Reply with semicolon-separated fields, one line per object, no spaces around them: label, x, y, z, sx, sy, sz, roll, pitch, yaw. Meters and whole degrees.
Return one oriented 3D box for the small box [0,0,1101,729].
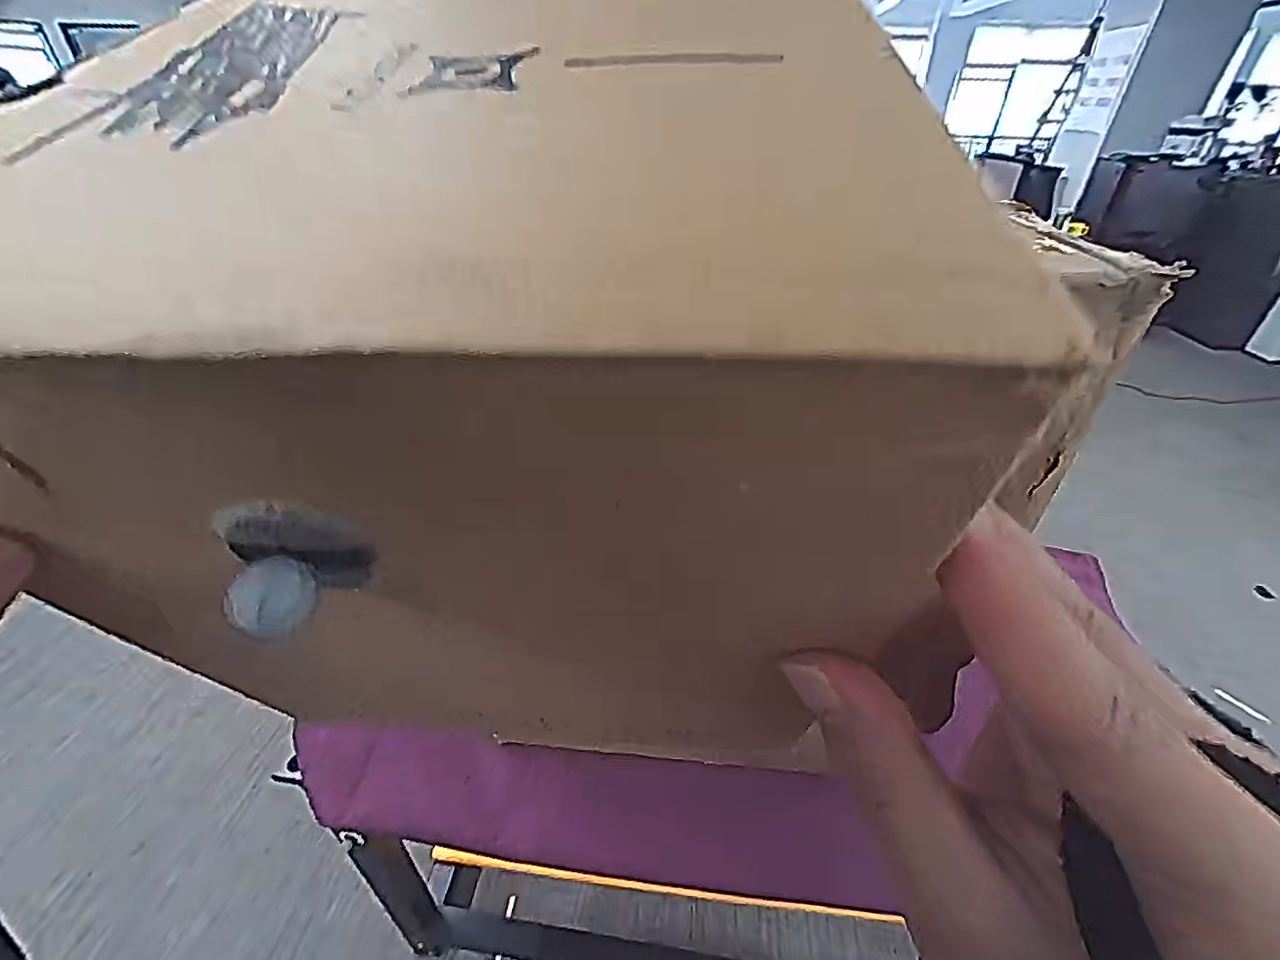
small box;-0.033;-0.032;0.167;0.179;0.176;0.168;2;53;5
